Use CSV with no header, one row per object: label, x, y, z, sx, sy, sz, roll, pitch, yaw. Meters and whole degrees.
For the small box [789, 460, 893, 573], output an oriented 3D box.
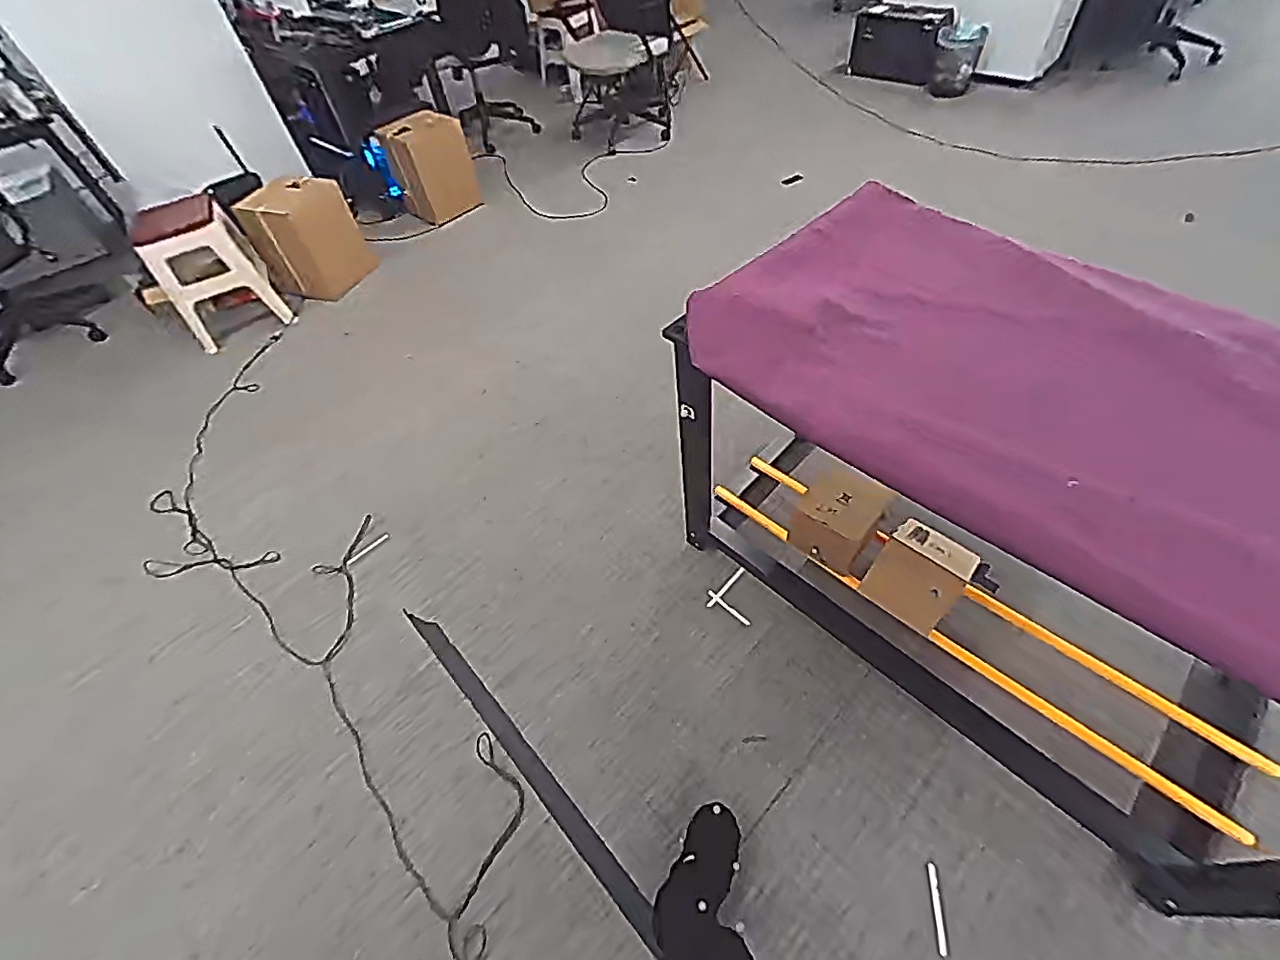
small box,0.482,0.092,1.325,0.168,0.176,0.179,33,65,28
